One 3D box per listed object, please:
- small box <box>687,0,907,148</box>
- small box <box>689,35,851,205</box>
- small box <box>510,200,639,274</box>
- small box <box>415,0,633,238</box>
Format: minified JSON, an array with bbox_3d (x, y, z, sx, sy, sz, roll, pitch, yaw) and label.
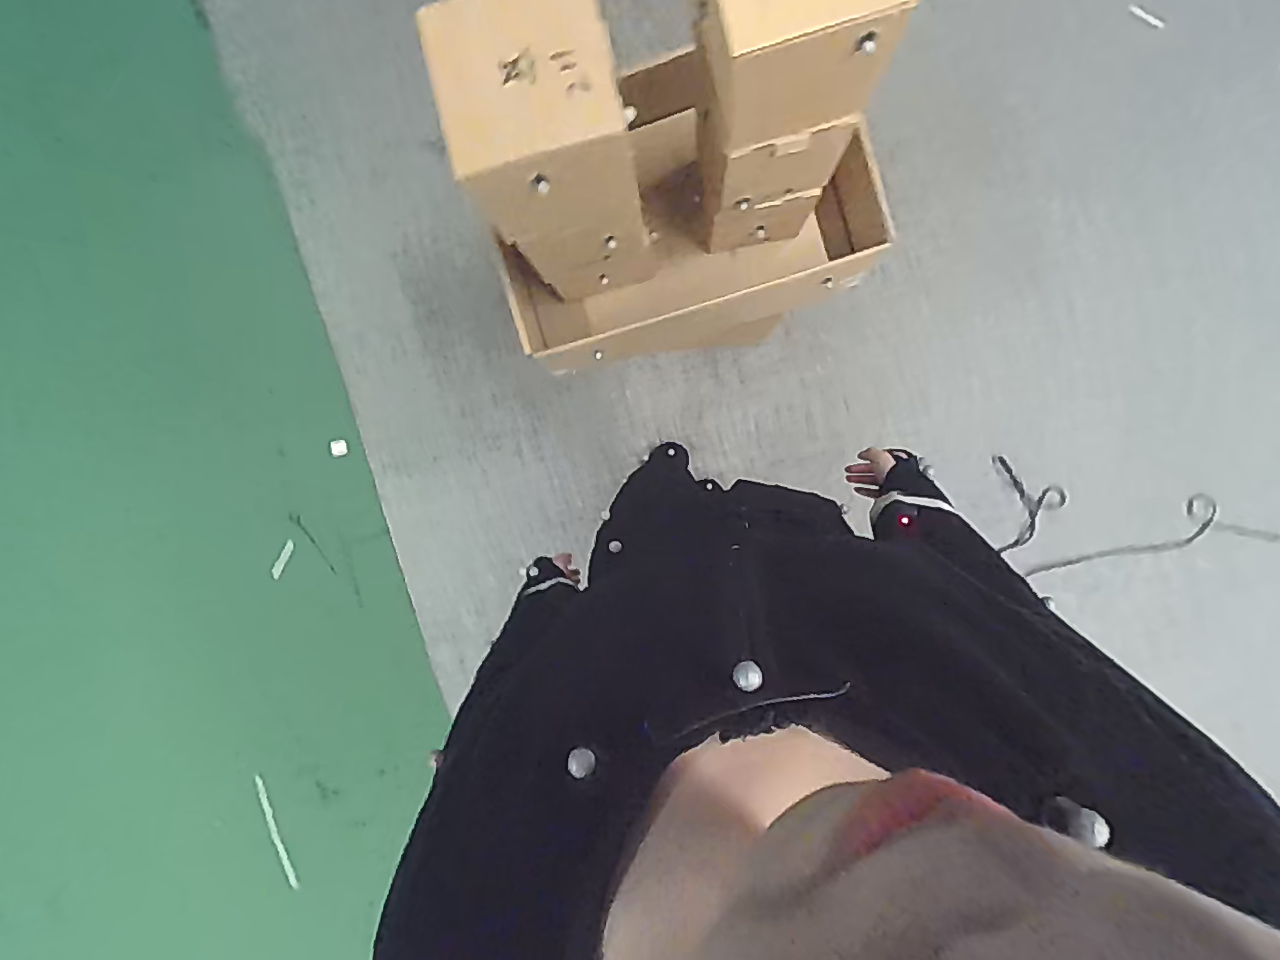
[{"bbox_3d":[0.150,-0.495,0.577,0.179,0.176,0.168,-15,92,4],"label":"small box"},{"bbox_3d":[0.166,-0.504,0.739,0.168,0.176,0.179,-14,92,5],"label":"small box"},{"bbox_3d":[-0.103,-0.410,0.763,0.168,0.176,0.179,-16,92,4],"label":"small box"},{"bbox_3d":[-0.113,-0.393,0.599,0.179,0.176,0.168,-13,93,4],"label":"small box"}]
